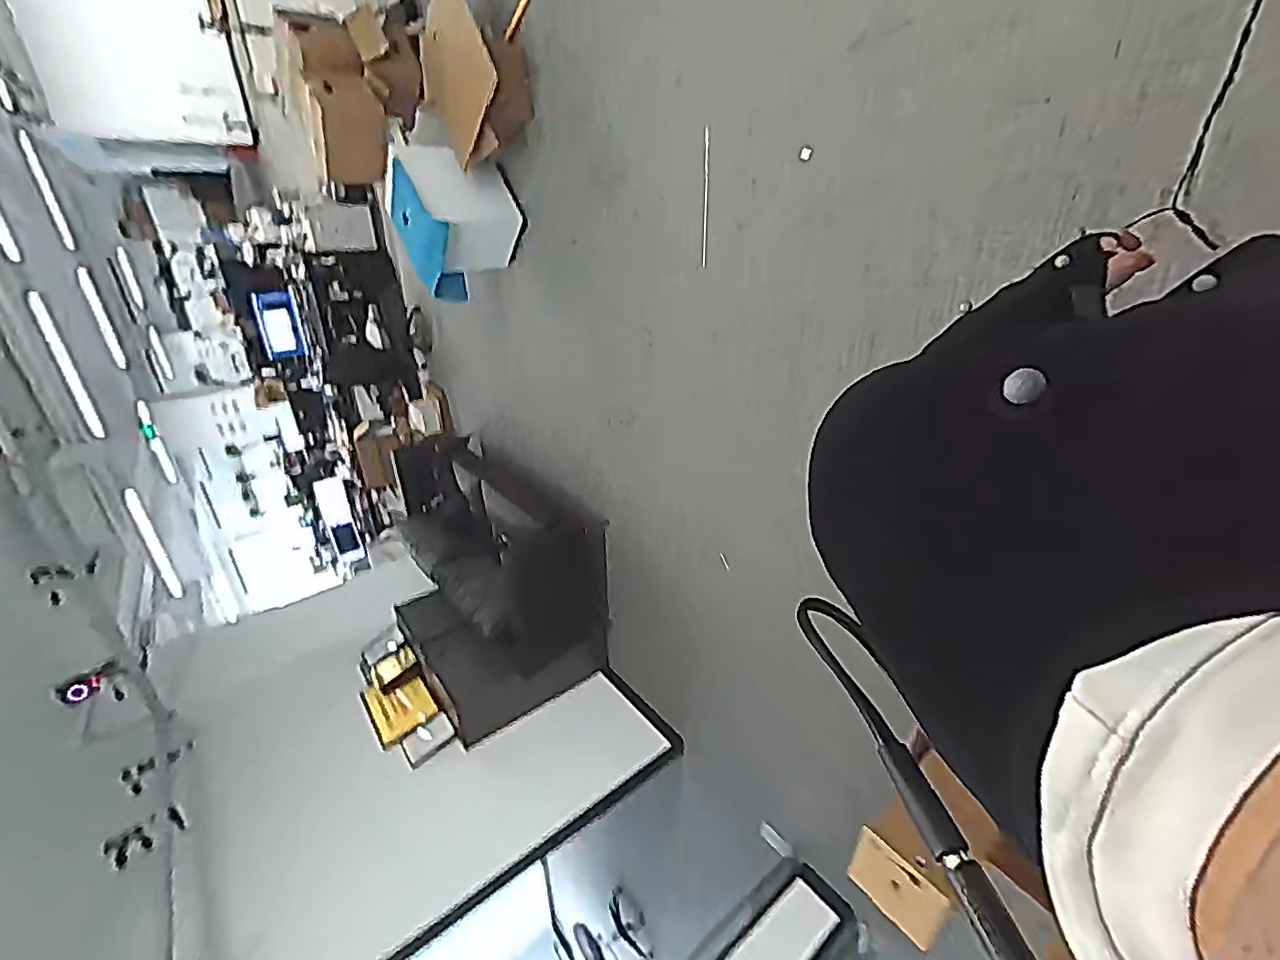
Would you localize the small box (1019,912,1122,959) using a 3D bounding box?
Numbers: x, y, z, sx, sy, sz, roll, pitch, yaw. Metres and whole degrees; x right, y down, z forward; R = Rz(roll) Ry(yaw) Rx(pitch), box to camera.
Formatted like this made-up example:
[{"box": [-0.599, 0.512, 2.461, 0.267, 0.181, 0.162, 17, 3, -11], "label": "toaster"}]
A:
[{"box": [0.714, 0.874, 0.882, 0.168, 0.176, 0.179, 31, 130, 42], "label": "small box"}]

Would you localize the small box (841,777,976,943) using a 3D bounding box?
[{"box": [0.532, 0.746, 1.076, 0.168, 0.176, 0.179, 31, 129, 43], "label": "small box"}]

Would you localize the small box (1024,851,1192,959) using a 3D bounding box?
[{"box": [0.842, 0.832, 0.975, 0.168, 0.176, 0.179, 31, 129, 43], "label": "small box"}]

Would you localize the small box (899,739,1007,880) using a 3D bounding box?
[{"box": [0.659, 0.706, 1.171, 0.168, 0.176, 0.179, 31, 129, 44], "label": "small box"}]
